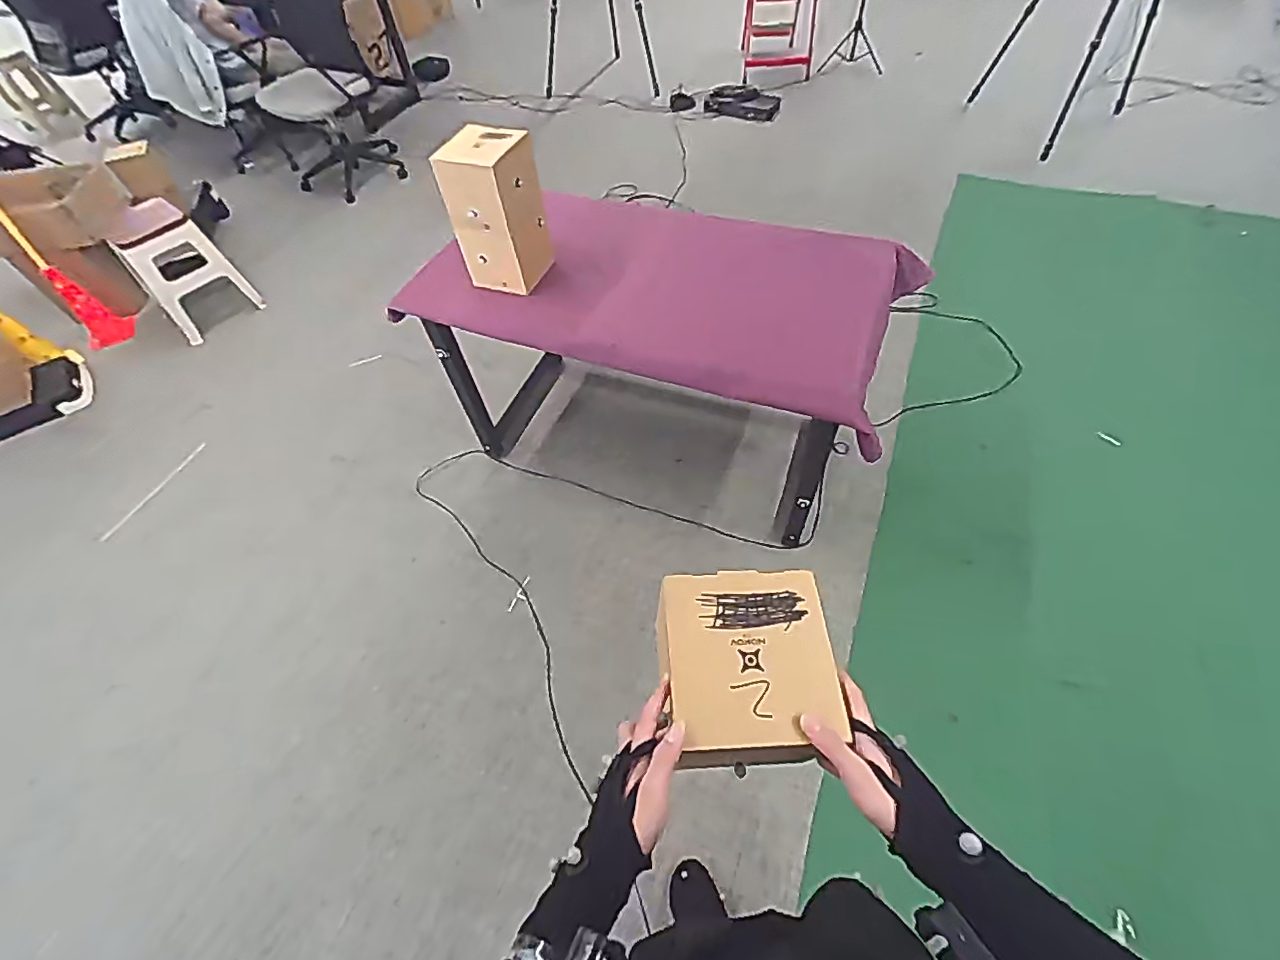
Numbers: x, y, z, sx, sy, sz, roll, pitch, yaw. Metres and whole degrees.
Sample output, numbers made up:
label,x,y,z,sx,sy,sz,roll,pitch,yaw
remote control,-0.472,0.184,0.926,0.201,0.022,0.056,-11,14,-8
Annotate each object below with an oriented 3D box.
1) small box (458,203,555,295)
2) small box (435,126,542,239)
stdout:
label,x,y,z,sx,sy,sz,roll,pitch,yaw
small box,-0.340,-0.613,1.423,0.168,0.176,0.179,15,57,15
small box,-0.349,-0.709,1.290,0.168,0.176,0.179,16,58,15
